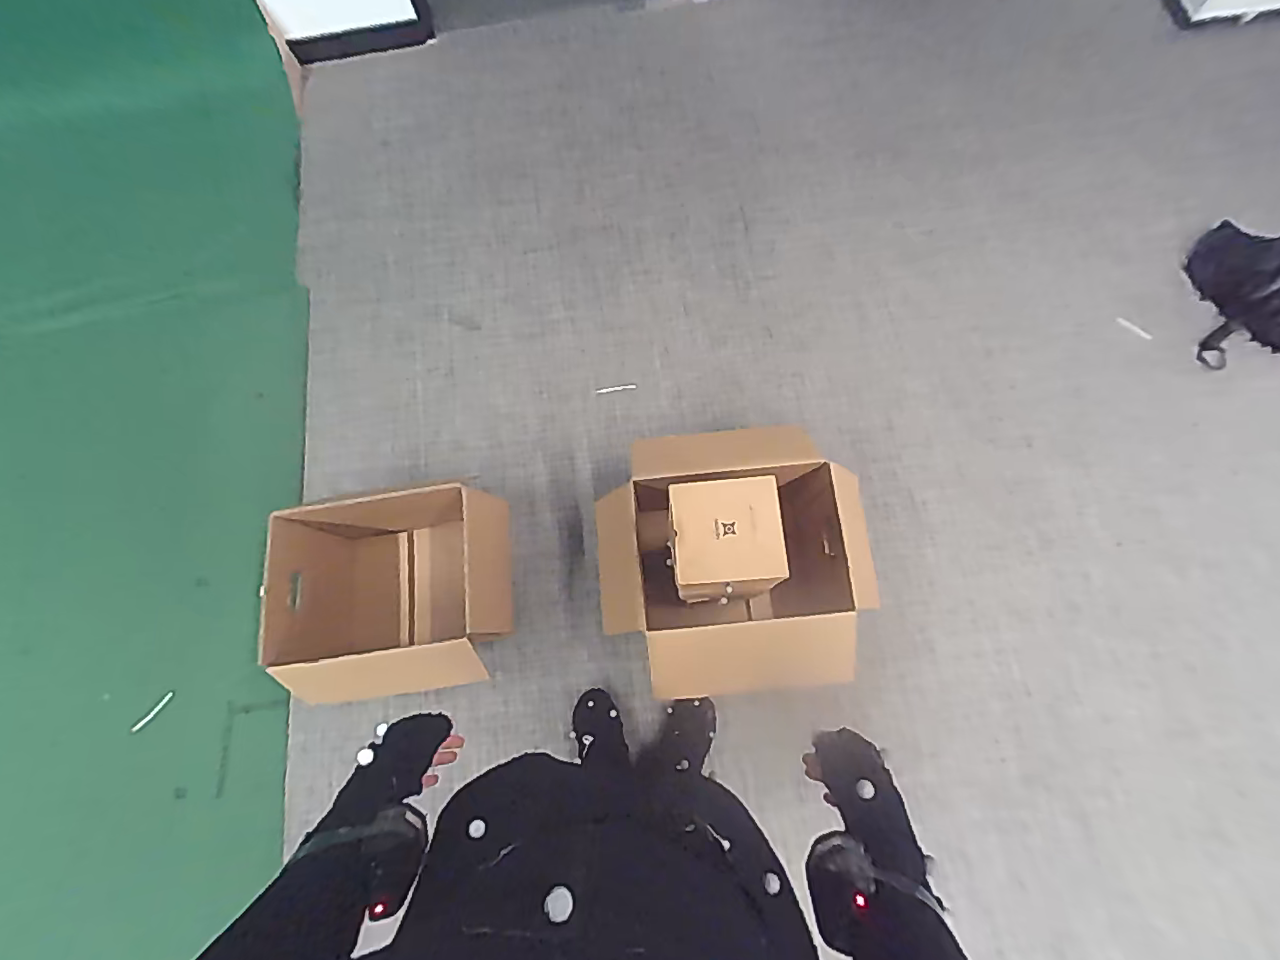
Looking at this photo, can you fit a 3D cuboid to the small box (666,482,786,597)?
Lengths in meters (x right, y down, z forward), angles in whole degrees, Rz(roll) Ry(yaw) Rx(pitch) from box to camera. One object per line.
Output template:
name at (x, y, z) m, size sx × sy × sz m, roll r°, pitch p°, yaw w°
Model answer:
small box at (0.143, 0.110, 0.943) m, size 0.179 × 0.176 × 0.168 m, roll -6°, pitch 75°, yaw 3°
